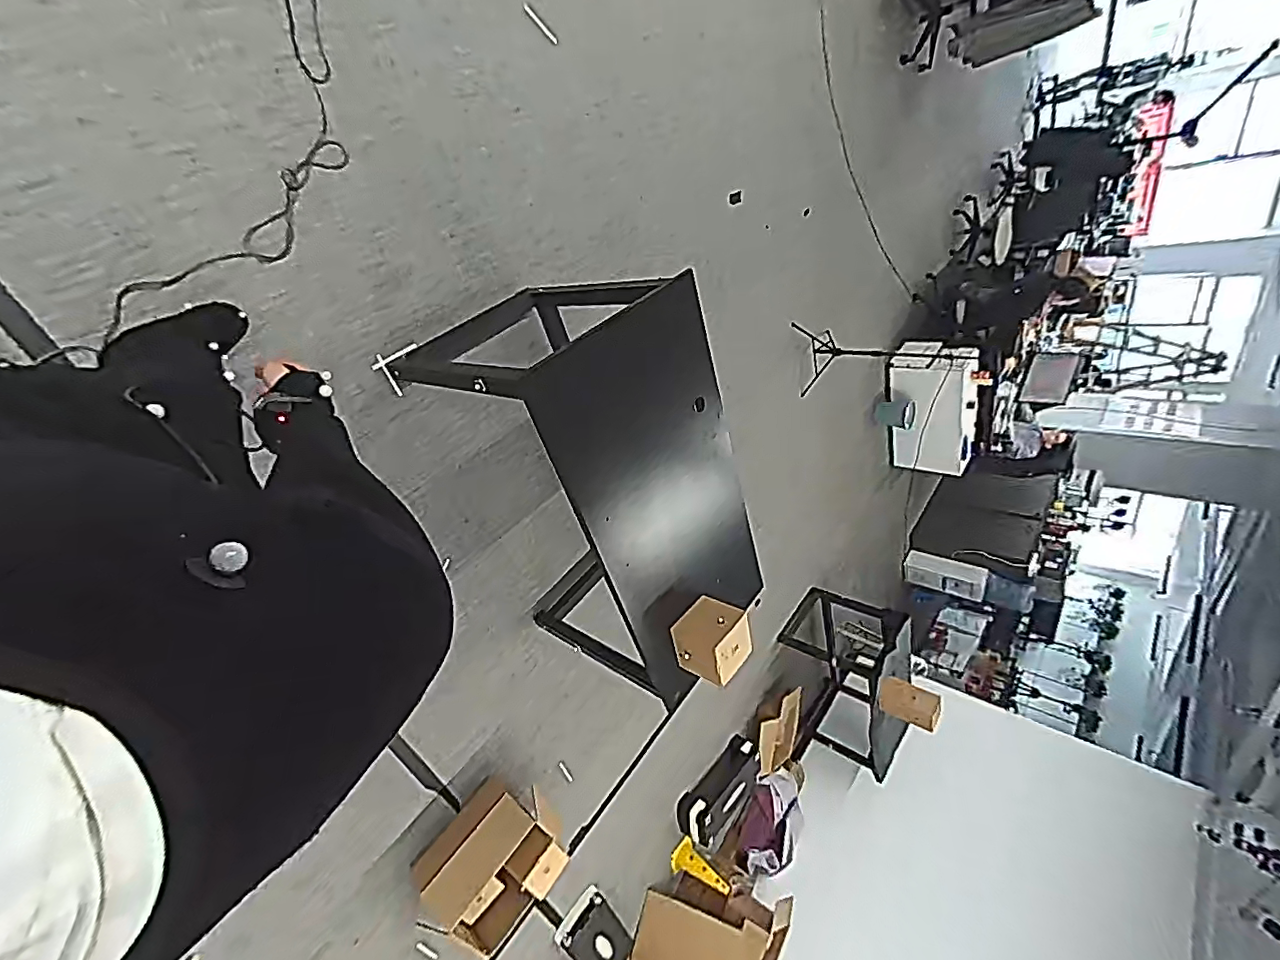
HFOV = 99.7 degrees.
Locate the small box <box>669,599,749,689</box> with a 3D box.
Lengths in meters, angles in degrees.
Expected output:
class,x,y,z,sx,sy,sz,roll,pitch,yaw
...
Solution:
class,x,y,z,sx,sy,sz,roll,pitch,yaw
small box,0.214,0.500,1.677,0.179,0.176,0.168,-36,124,-37
